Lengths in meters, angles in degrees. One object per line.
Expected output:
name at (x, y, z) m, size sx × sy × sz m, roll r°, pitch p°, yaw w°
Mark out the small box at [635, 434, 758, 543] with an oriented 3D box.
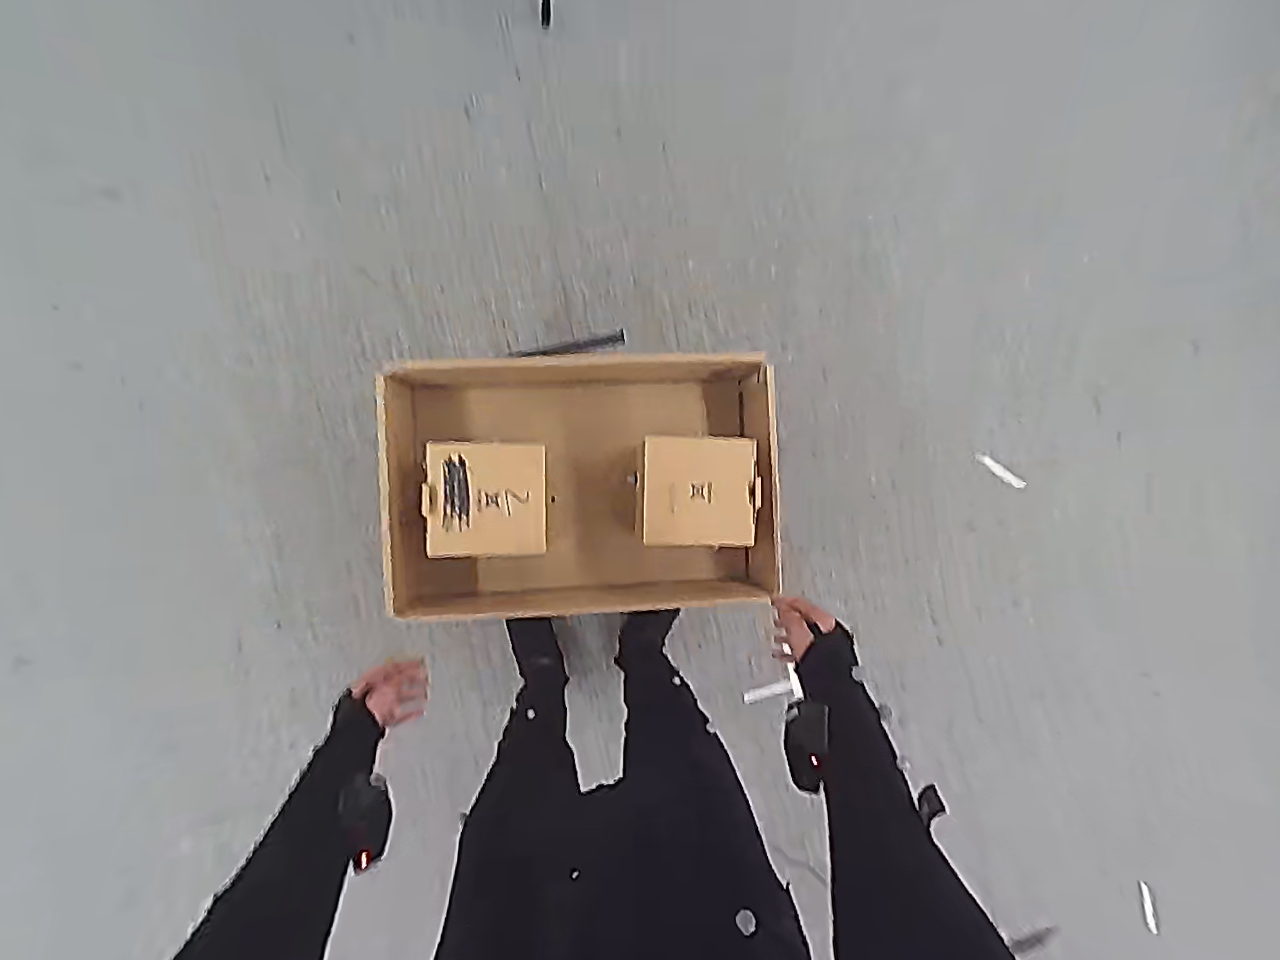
small box at (0.088, 0.015, 0.911) m, size 0.179 × 0.176 × 0.168 m, roll 2°, pitch 88°, yaw -4°
